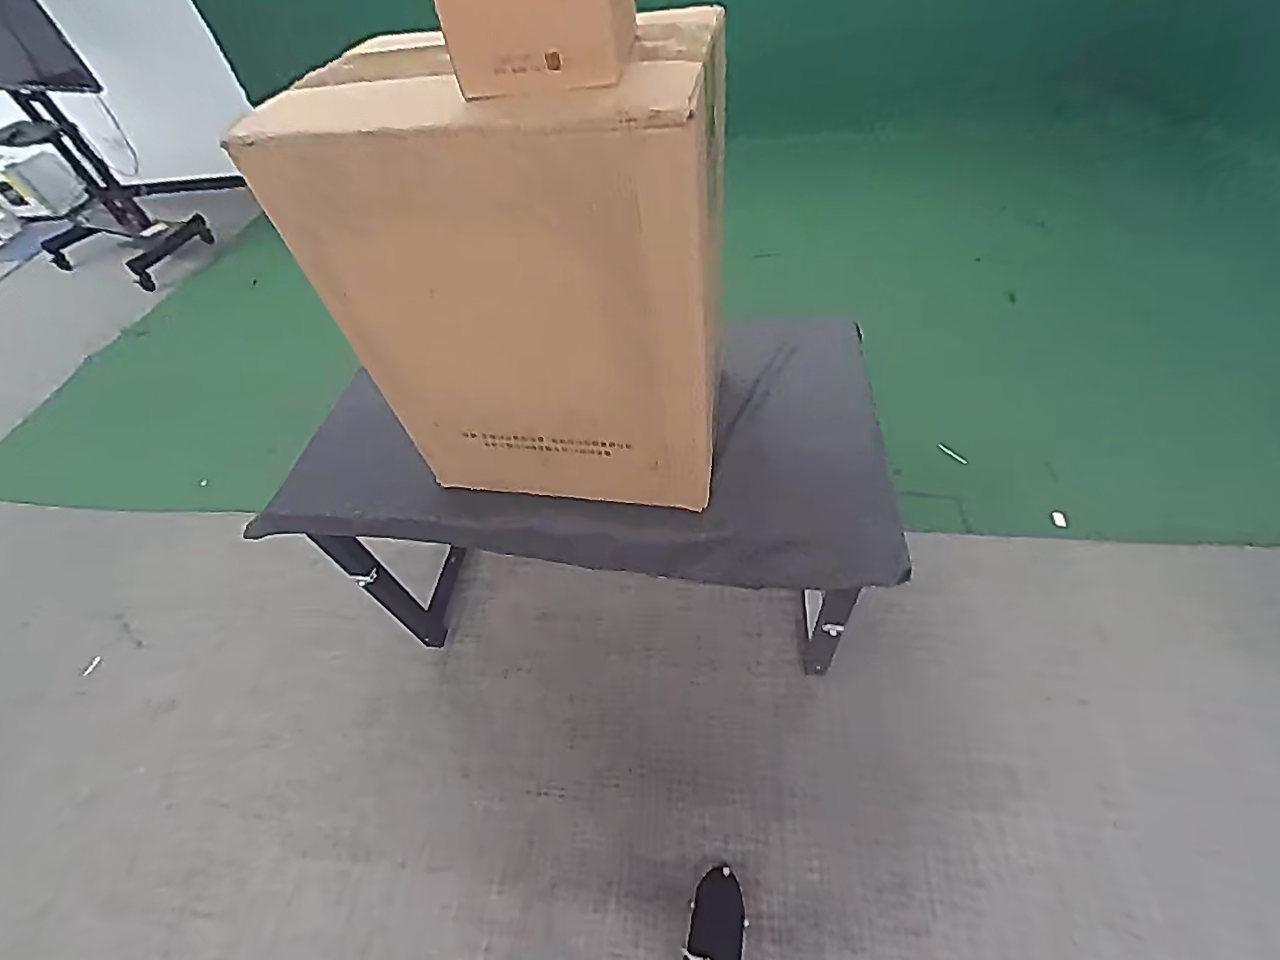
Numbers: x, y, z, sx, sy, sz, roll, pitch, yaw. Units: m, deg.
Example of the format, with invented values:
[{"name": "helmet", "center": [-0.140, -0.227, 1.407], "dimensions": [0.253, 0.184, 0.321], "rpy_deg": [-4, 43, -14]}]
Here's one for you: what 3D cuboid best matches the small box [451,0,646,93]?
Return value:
[{"name": "small box", "center": [-0.084, -0.500, 0.525], "dimensions": [0.168, 0.176, 0.179], "rpy_deg": [3, 53, 6]}]
